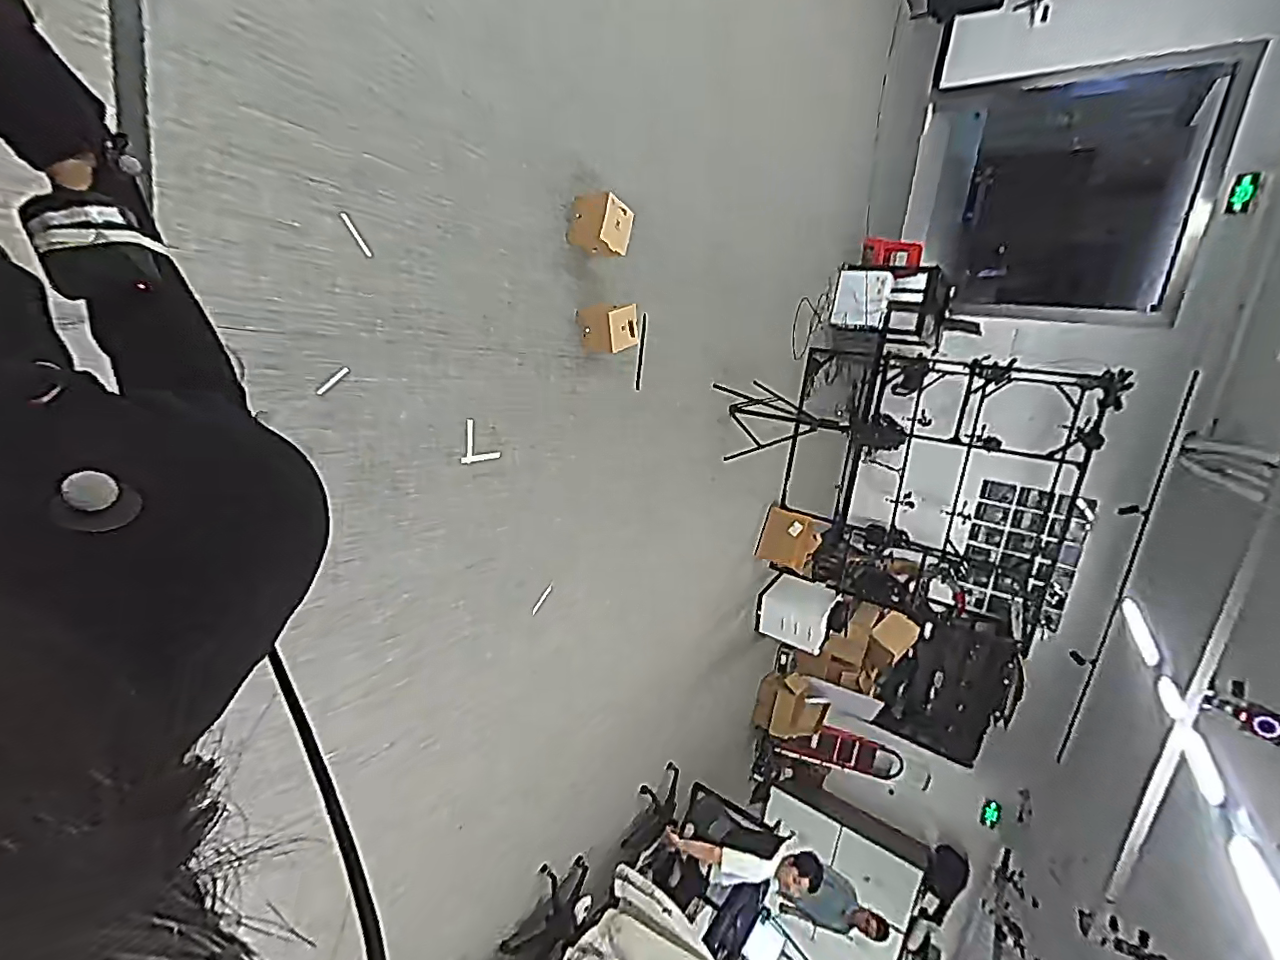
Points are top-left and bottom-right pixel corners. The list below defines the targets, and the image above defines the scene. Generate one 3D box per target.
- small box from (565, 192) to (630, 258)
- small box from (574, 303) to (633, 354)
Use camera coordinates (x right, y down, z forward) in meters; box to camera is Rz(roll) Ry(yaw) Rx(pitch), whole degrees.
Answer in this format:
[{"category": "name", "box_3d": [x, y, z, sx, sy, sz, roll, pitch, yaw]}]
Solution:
[{"category": "small box", "box_3d": [-0.168, -0.977, 2.083, 0.168, 0.176, 0.179, 11, 94, -58]}, {"category": "small box", "box_3d": [-0.152, -0.636, 2.250, 0.179, 0.176, 0.168, -36, 131, -44]}]
